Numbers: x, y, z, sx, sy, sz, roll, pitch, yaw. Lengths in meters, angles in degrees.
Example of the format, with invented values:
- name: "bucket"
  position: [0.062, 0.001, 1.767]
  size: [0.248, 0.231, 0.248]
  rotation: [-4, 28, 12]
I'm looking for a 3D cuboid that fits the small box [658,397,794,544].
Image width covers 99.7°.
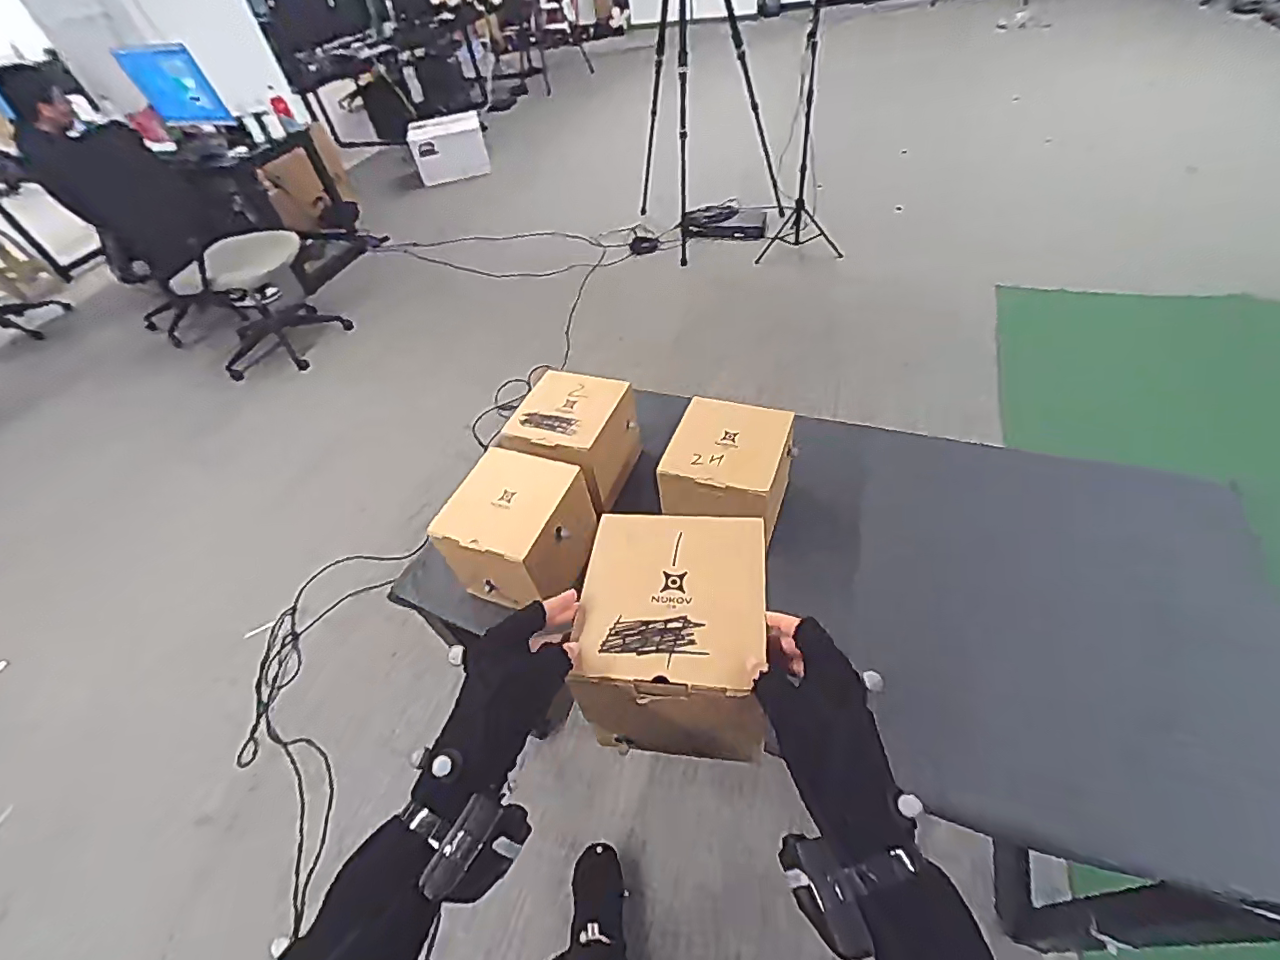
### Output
- name: "small box"
  position: [0.139, -0.004, 0.866]
  size: [0.168, 0.176, 0.179]
  rotation: [13, 52, 20]

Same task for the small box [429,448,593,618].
- name: "small box"
  position: [-0.184, 0.081, 0.839]
  size: [0.168, 0.176, 0.179]
  rotation: [13, 52, 20]

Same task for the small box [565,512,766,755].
- name: "small box"
  position: [0.040, 0.154, 0.543]
  size: [0.168, 0.176, 0.179]
  rotation: [2, 46, 11]
